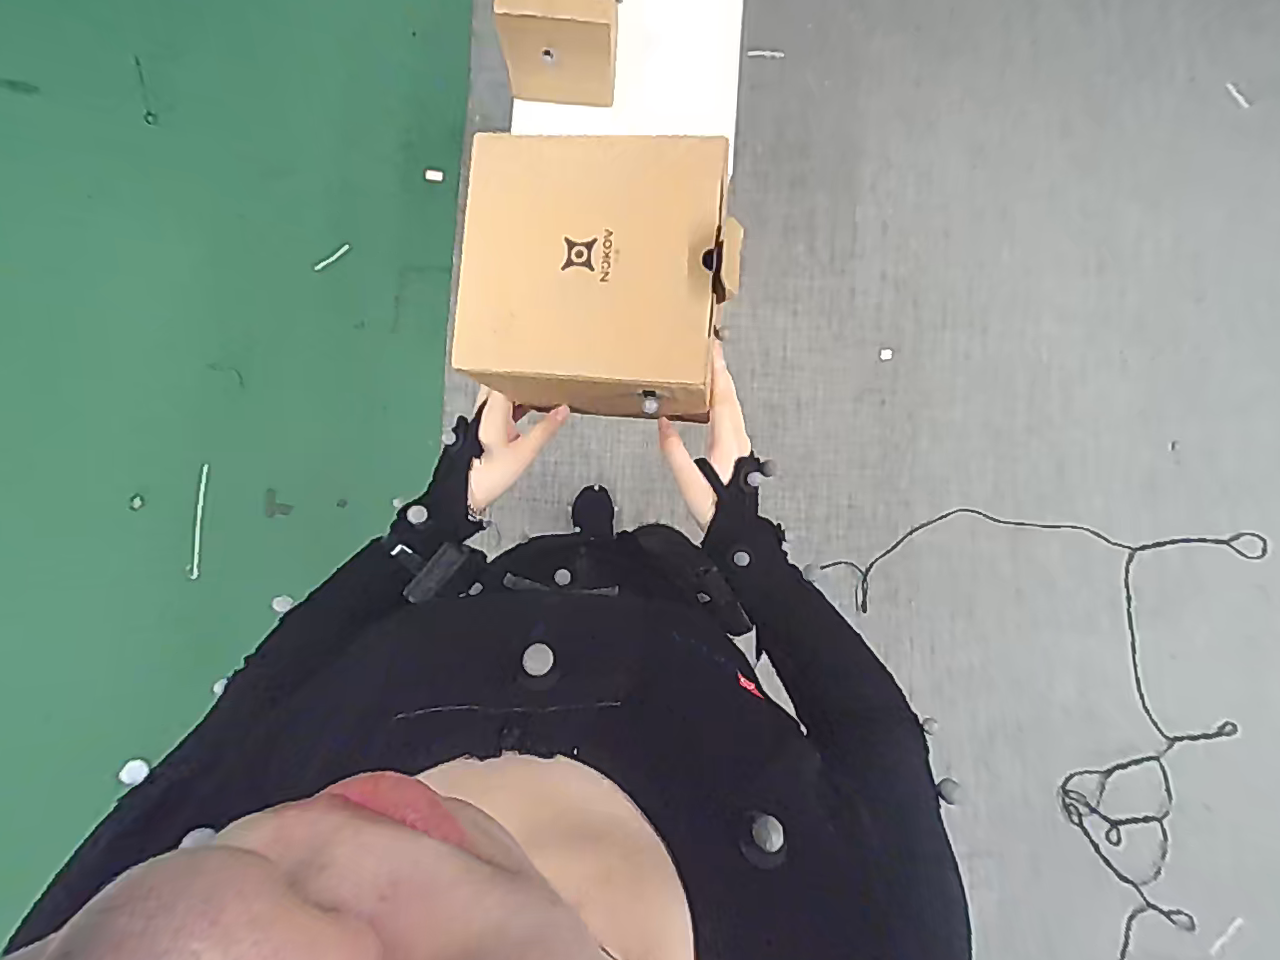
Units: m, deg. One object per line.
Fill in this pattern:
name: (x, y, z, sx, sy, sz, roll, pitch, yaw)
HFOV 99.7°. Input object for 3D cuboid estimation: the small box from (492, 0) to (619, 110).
small box: (-0.128, -0.744, 0.881, 0.179, 0.176, 0.168, 4, 86, -2)

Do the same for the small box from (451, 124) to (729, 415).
small box: (-0.026, -0.151, 0.439, 0.179, 0.176, 0.168, 5, 87, 7)
